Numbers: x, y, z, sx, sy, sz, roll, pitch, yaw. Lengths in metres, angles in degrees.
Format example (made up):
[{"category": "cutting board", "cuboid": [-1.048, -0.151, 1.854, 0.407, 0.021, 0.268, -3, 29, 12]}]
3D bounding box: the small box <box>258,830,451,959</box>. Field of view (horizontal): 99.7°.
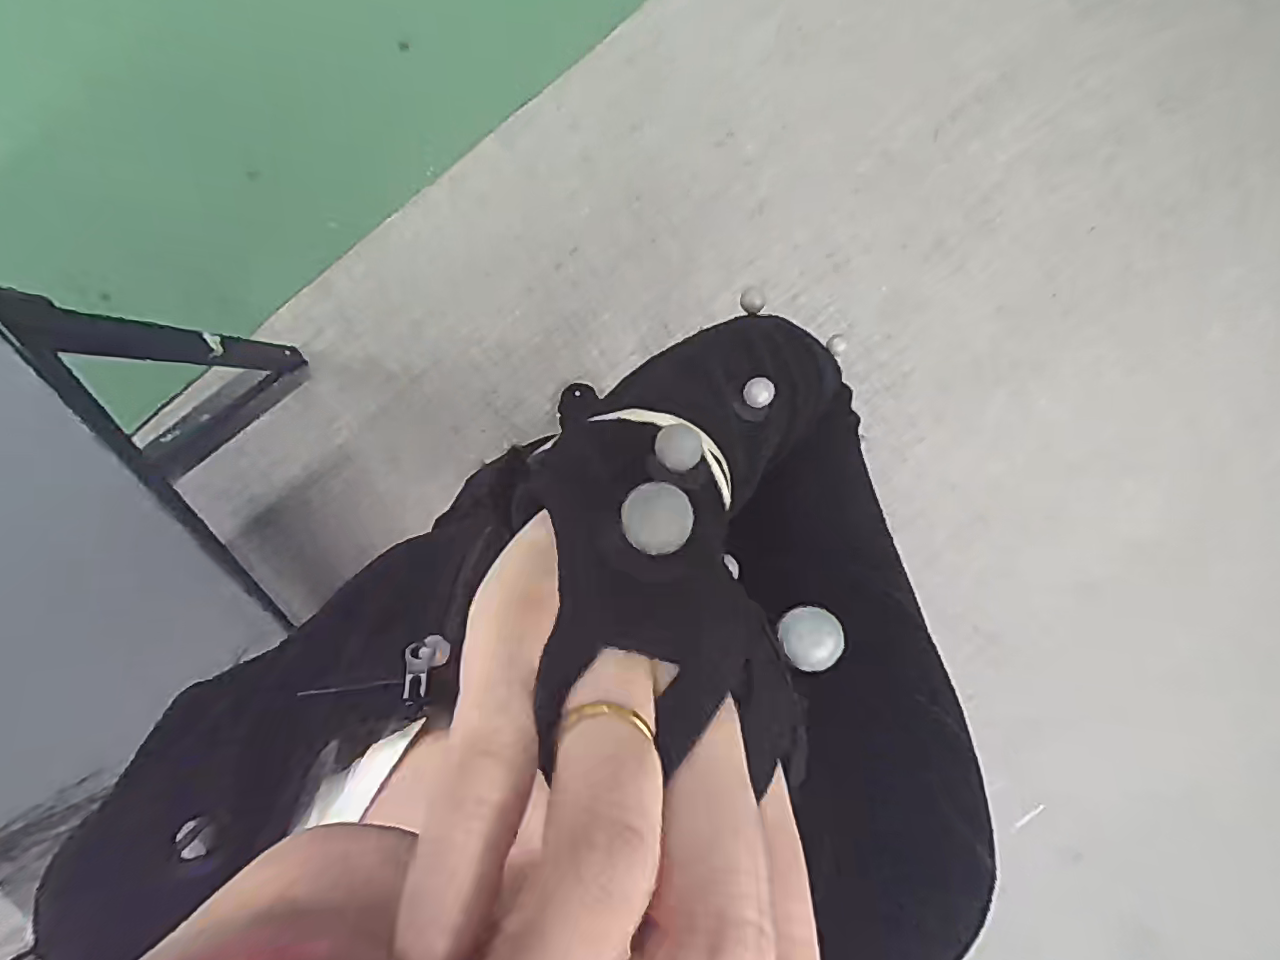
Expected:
[{"category": "small box", "cuboid": [-0.399, 0.650, 0.757, 0.179, 0.176, 0.168, -38, 98, 4]}]
